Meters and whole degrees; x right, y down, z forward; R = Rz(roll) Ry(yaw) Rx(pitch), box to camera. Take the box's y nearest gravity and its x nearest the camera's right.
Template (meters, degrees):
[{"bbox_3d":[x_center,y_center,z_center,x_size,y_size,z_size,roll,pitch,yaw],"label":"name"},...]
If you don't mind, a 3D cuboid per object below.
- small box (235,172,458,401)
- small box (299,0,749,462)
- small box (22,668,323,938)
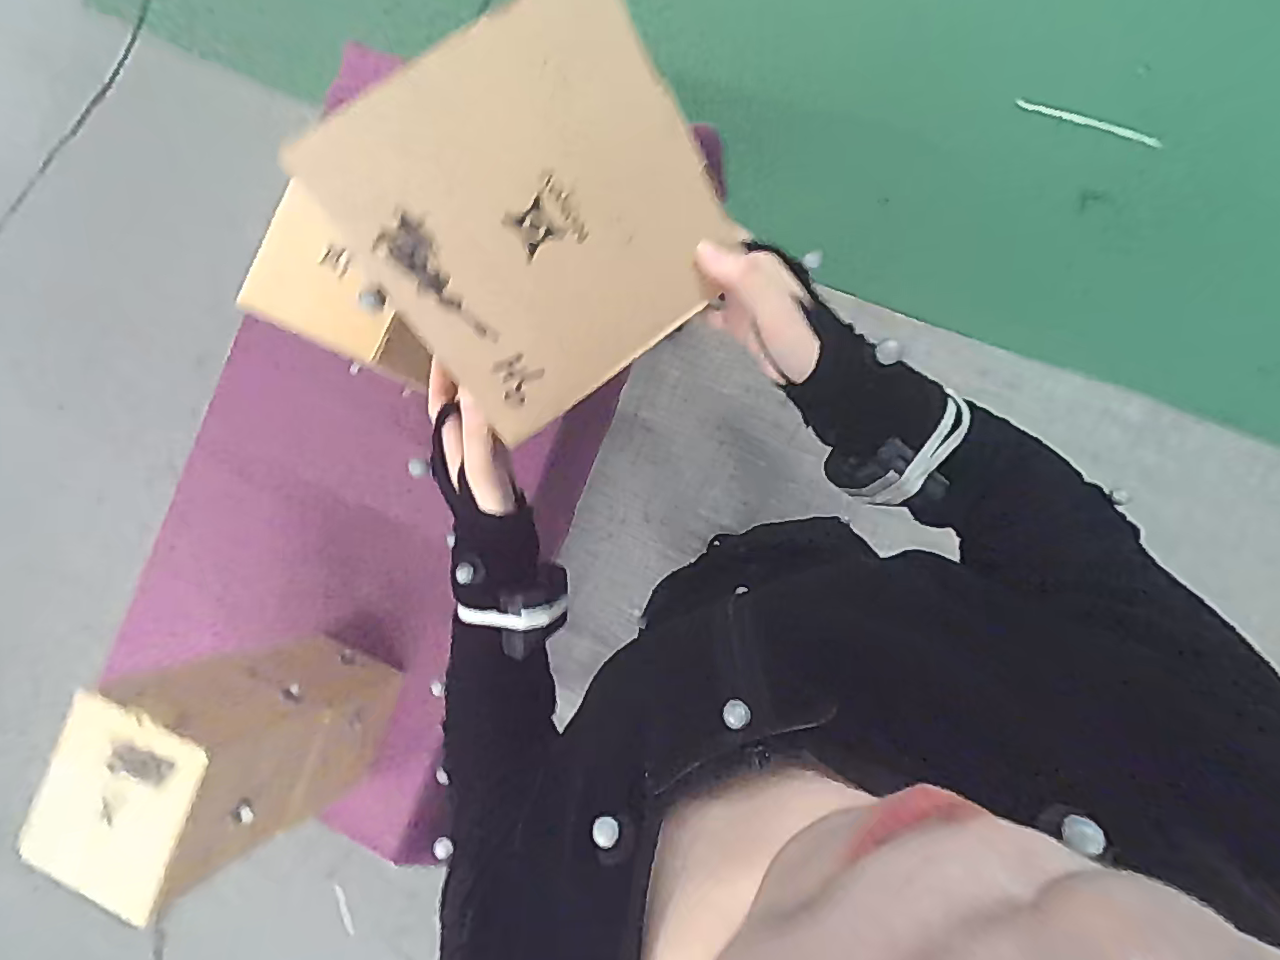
[{"bbox_3d":[-0.294,-0.205,0.619,0.179,0.176,0.168,23,89,9],"label":"small box"},{"bbox_3d":[-0.069,-0.139,0.351,0.179,0.176,0.168,-37,111,-7],"label":"small box"},{"bbox_3d":[-0.498,0.334,0.605,0.168,0.176,0.179,18,88,10],"label":"small box"}]
